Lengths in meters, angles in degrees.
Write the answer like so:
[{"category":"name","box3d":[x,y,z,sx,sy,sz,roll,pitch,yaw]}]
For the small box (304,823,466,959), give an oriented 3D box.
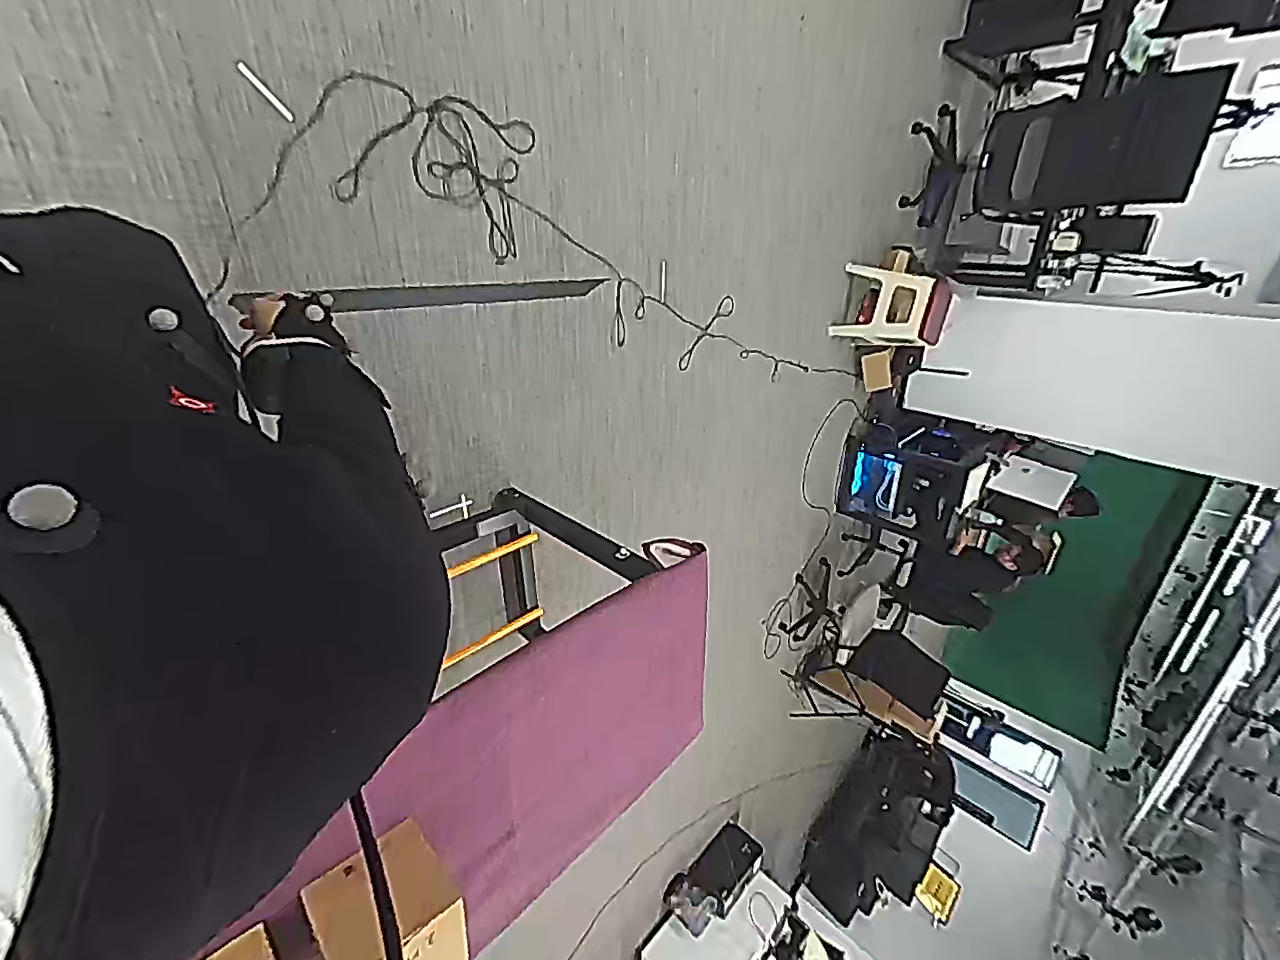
[{"category":"small box","box3d":[-0.380,0.672,0.812,0.168,0.176,0.179,-18,121,-43]}]
